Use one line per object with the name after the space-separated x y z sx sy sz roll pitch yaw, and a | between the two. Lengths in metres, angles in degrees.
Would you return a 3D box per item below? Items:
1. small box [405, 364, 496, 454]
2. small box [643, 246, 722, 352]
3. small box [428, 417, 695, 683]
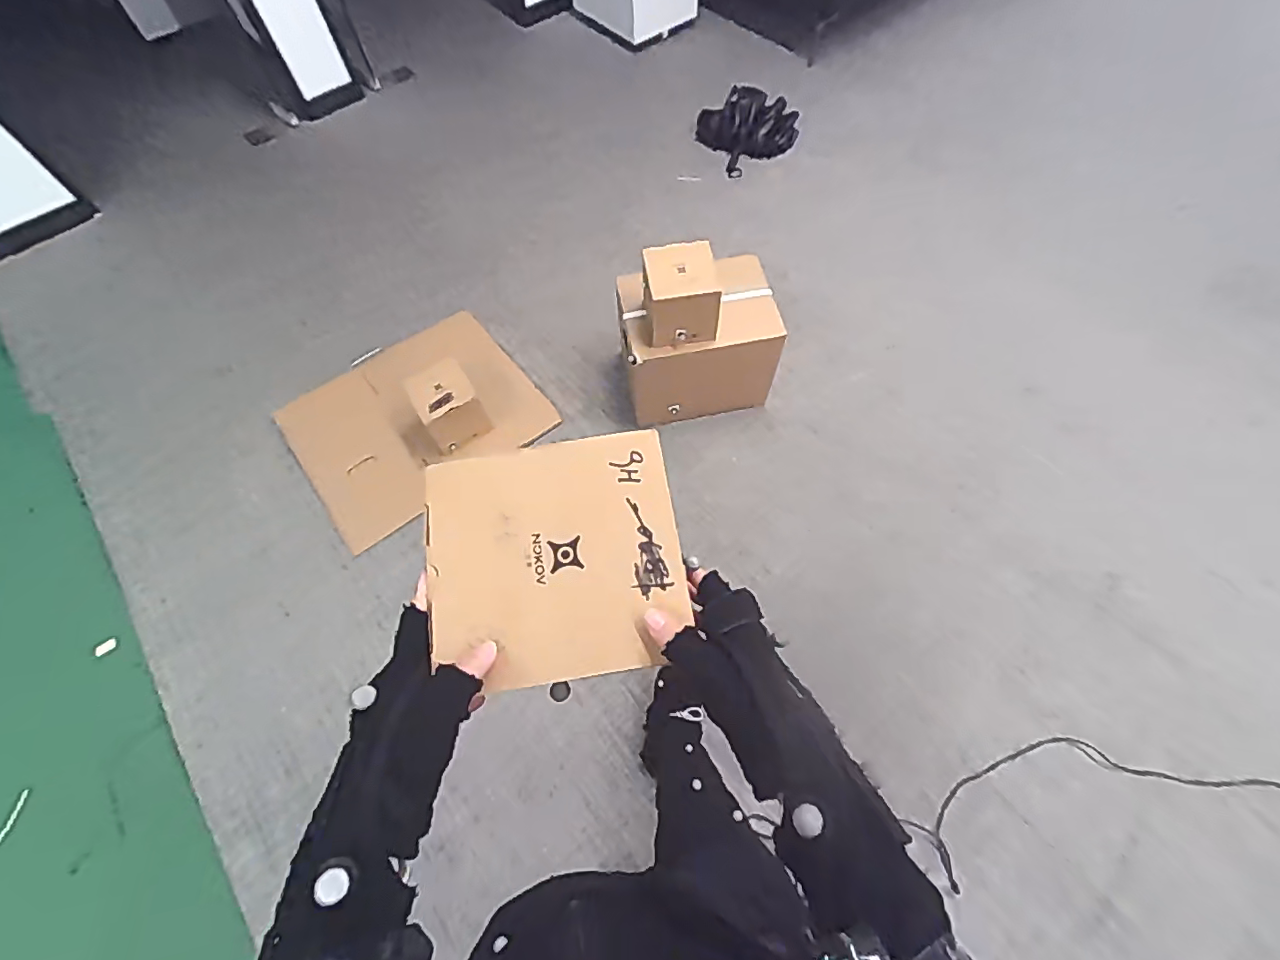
-0.547 -0.198 1.580 0.168 0.176 0.179 -31 63 -13 | small box
0.101 -0.451 1.355 0.168 0.176 0.179 -10 64 -1 | small box
-0.058 0.071 0.459 0.179 0.176 0.168 -12 69 -3 | small box
